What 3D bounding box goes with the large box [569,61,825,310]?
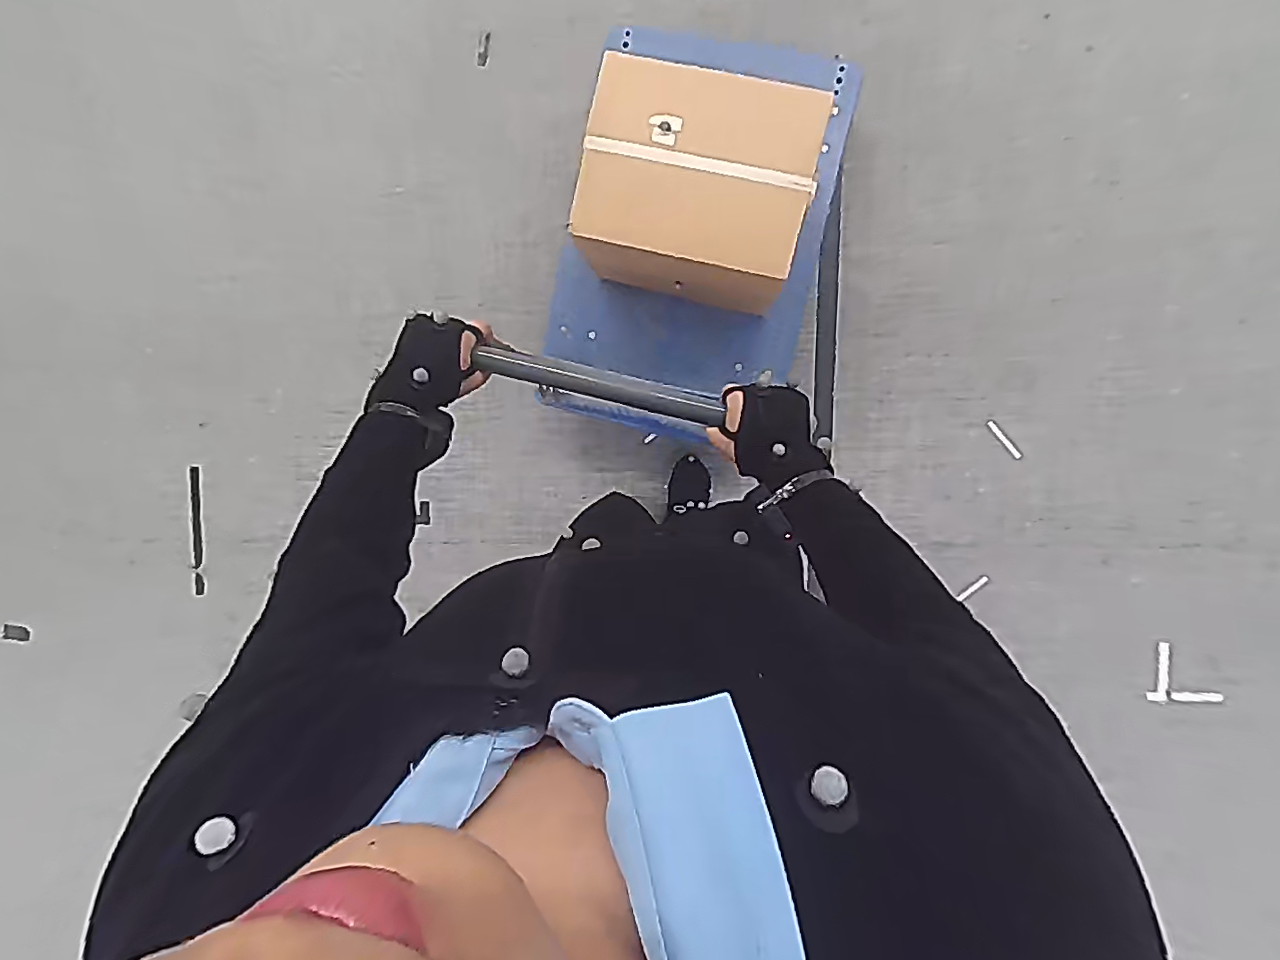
[{"bbox_3d":[0.113,-0.565,1.101,0.408,0.320,0.320,14,96,6],"label":"large box"}]
